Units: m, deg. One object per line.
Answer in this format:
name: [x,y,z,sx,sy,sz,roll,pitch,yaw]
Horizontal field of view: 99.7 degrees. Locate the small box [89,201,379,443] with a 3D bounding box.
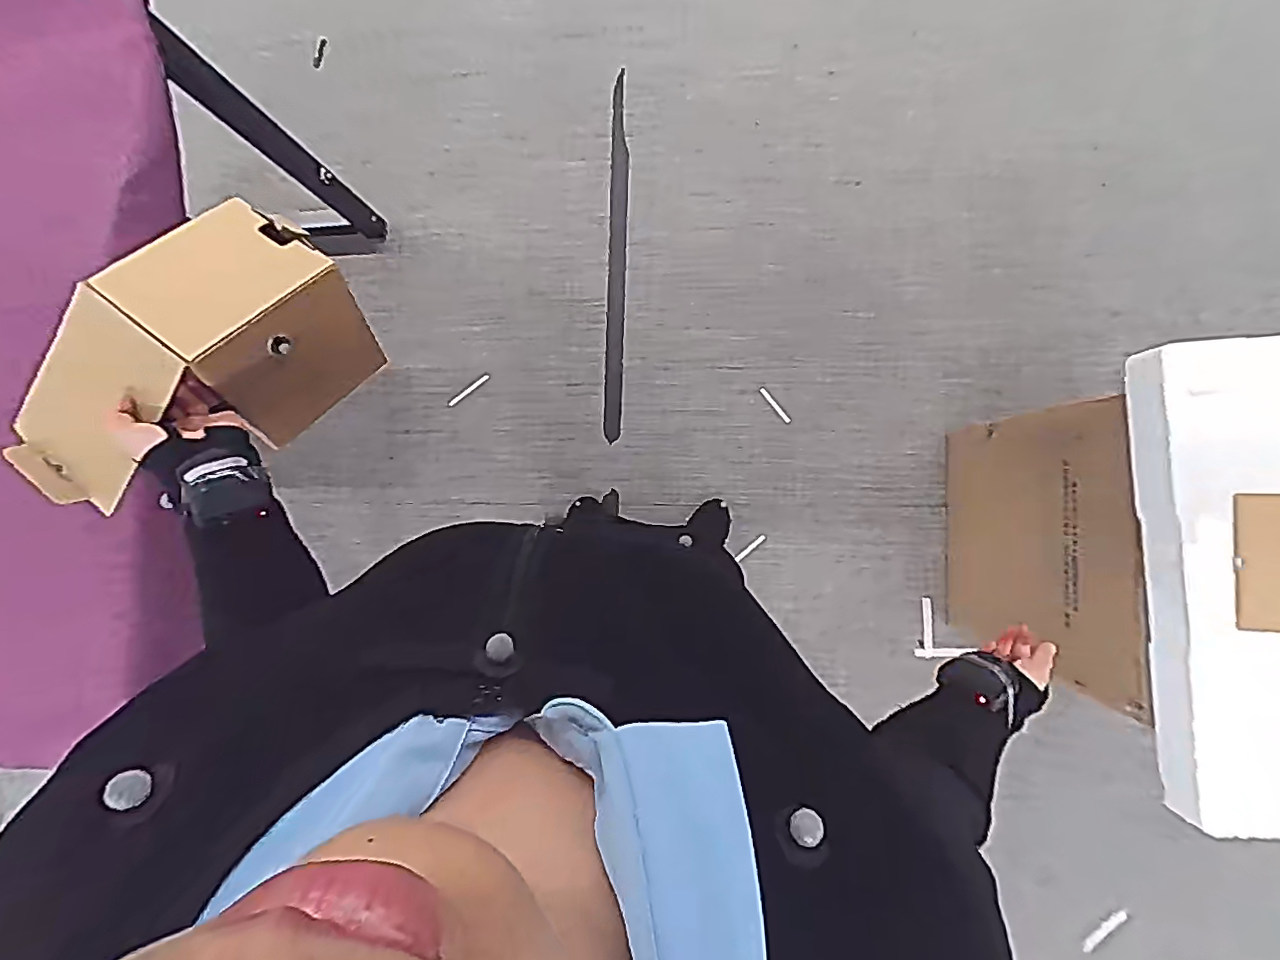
small box: [-0.447,-0.175,0.631,0.168,0.176,0.179,34,66,12]
